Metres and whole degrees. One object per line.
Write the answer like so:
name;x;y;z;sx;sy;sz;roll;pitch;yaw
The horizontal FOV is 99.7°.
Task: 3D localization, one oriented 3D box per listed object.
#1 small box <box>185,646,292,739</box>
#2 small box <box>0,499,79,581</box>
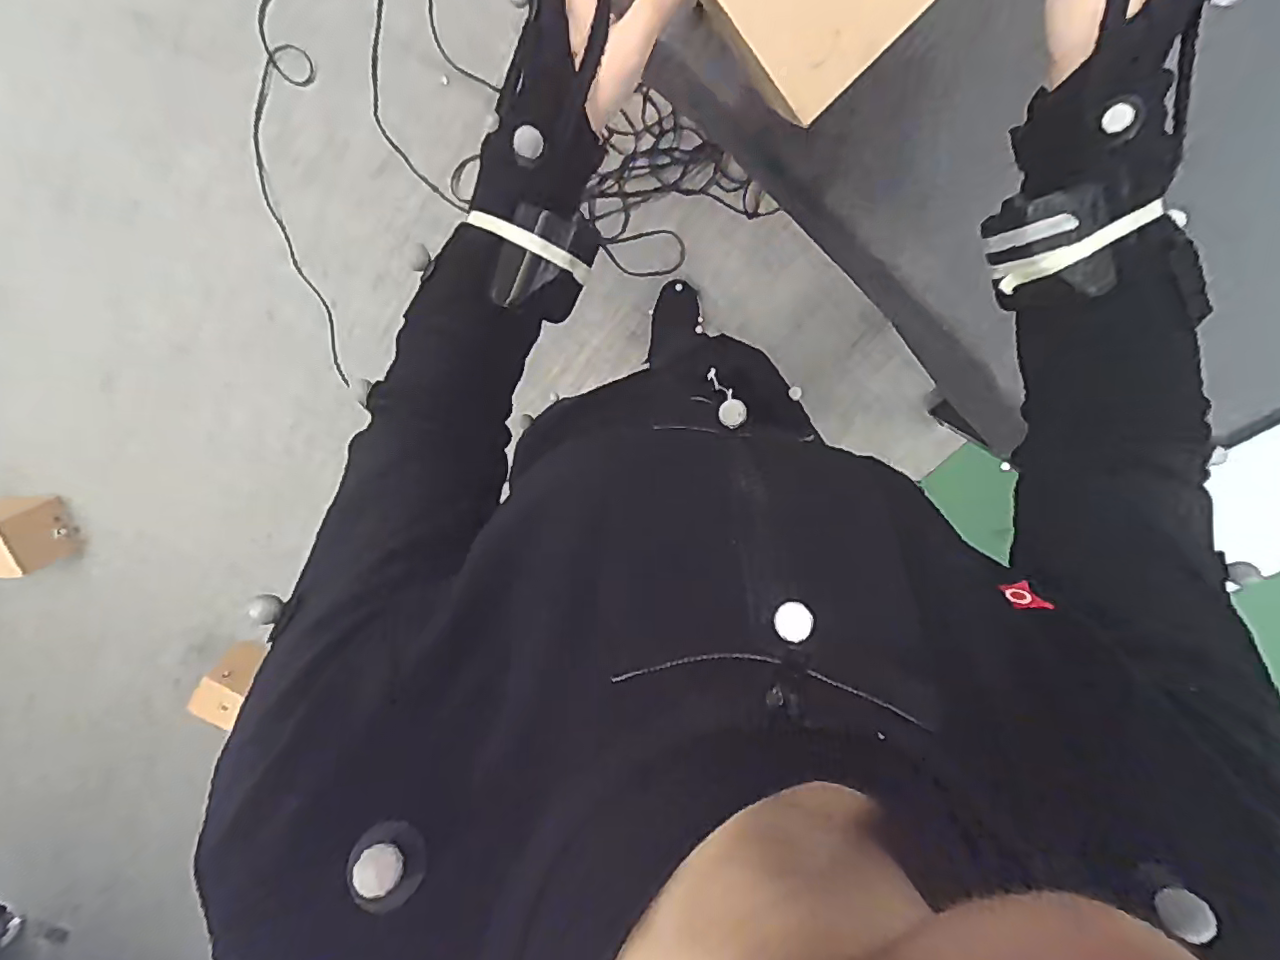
small box;-1.213;0.641;1.647;0.179;0.176;0.168;36;110;-11
small box;-1.712;0.159;1.467;0.179;0.176;0.168;-2;114;3
